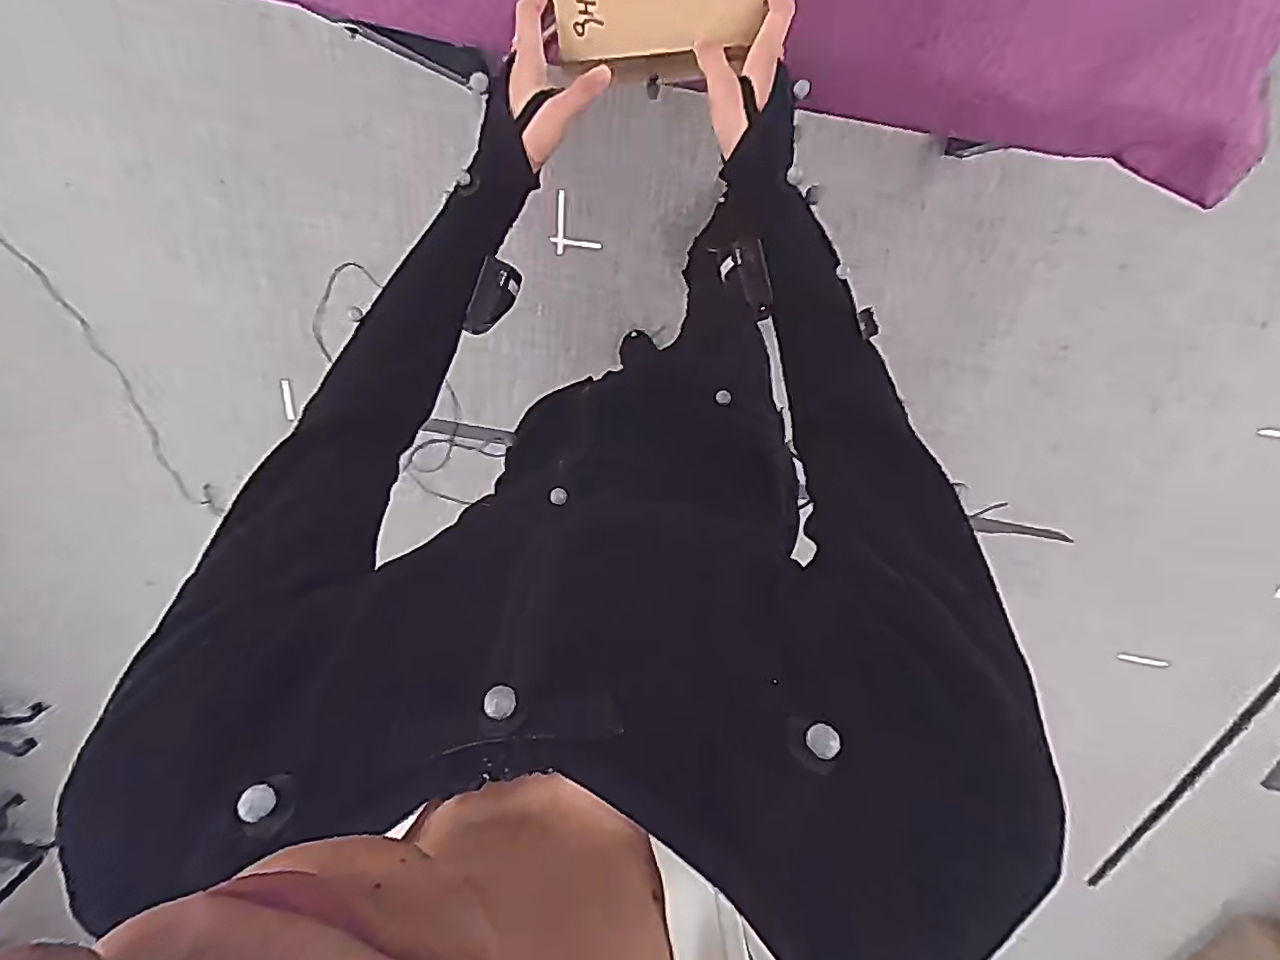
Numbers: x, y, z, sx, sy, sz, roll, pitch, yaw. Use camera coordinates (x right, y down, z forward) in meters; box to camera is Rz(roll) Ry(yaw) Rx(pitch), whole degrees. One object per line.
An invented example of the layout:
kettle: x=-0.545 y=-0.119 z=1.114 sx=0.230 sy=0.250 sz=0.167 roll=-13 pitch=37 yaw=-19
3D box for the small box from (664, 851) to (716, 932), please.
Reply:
small box: x=0.188 y=1.532 z=2.017 sx=0.168 sy=0.176 sz=0.179 roll=8 pitch=117 yaw=2

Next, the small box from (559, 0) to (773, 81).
small box: x=0.013 y=-0.470 z=0.479 sx=0.179 sy=0.176 sz=0.168 roll=-5 pitch=119 yaw=-1

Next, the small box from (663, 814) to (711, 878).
small box: x=0.190 y=1.477 z=2.175 sx=0.179 sy=0.176 sz=0.168 roll=5 pitch=117 yaw=5
